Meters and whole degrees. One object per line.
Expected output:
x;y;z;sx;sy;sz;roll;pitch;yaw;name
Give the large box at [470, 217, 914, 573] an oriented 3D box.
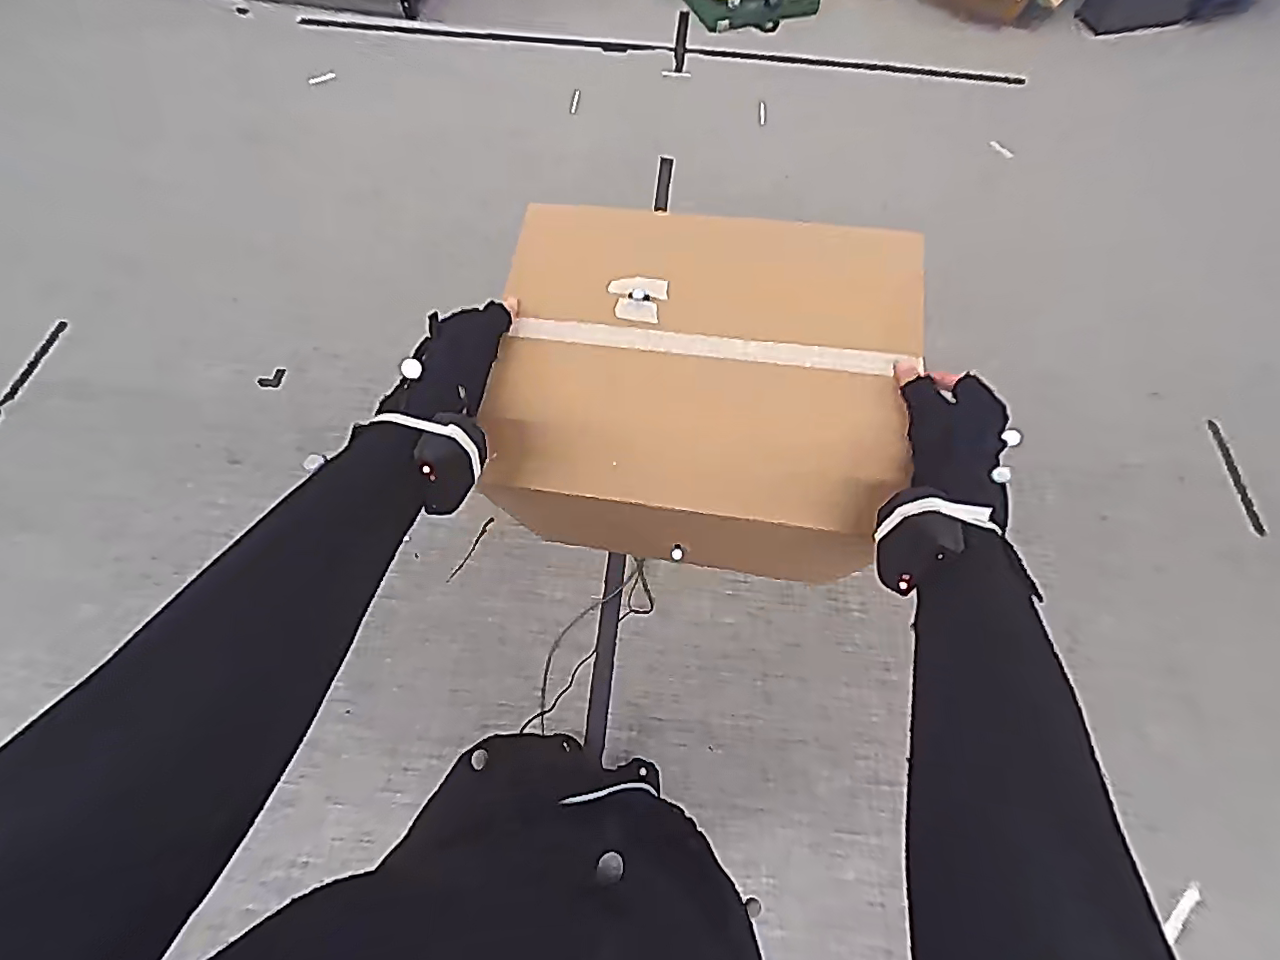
0.072;-0.078;0.665;0.408;0.320;0.320;8;73;8;large box
